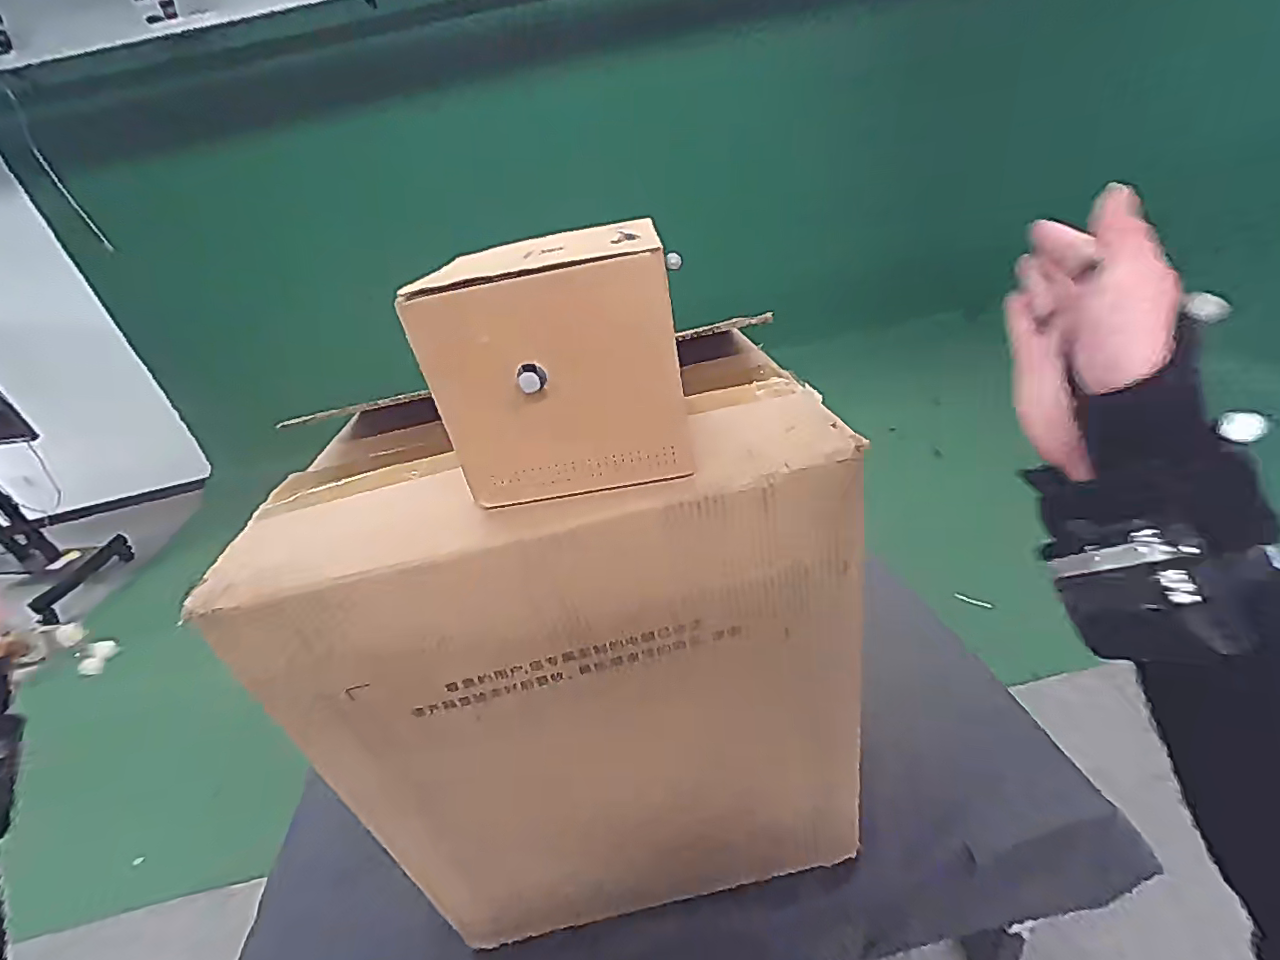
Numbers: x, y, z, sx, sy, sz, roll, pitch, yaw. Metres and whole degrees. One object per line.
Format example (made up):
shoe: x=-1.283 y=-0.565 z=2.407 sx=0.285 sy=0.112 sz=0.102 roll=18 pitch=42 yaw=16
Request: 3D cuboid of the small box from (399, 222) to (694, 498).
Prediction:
small box: x=-0.059 y=-0.101 z=0.452 sx=0.179 sy=0.176 sz=0.168 roll=-10 pitch=31 yaw=4
